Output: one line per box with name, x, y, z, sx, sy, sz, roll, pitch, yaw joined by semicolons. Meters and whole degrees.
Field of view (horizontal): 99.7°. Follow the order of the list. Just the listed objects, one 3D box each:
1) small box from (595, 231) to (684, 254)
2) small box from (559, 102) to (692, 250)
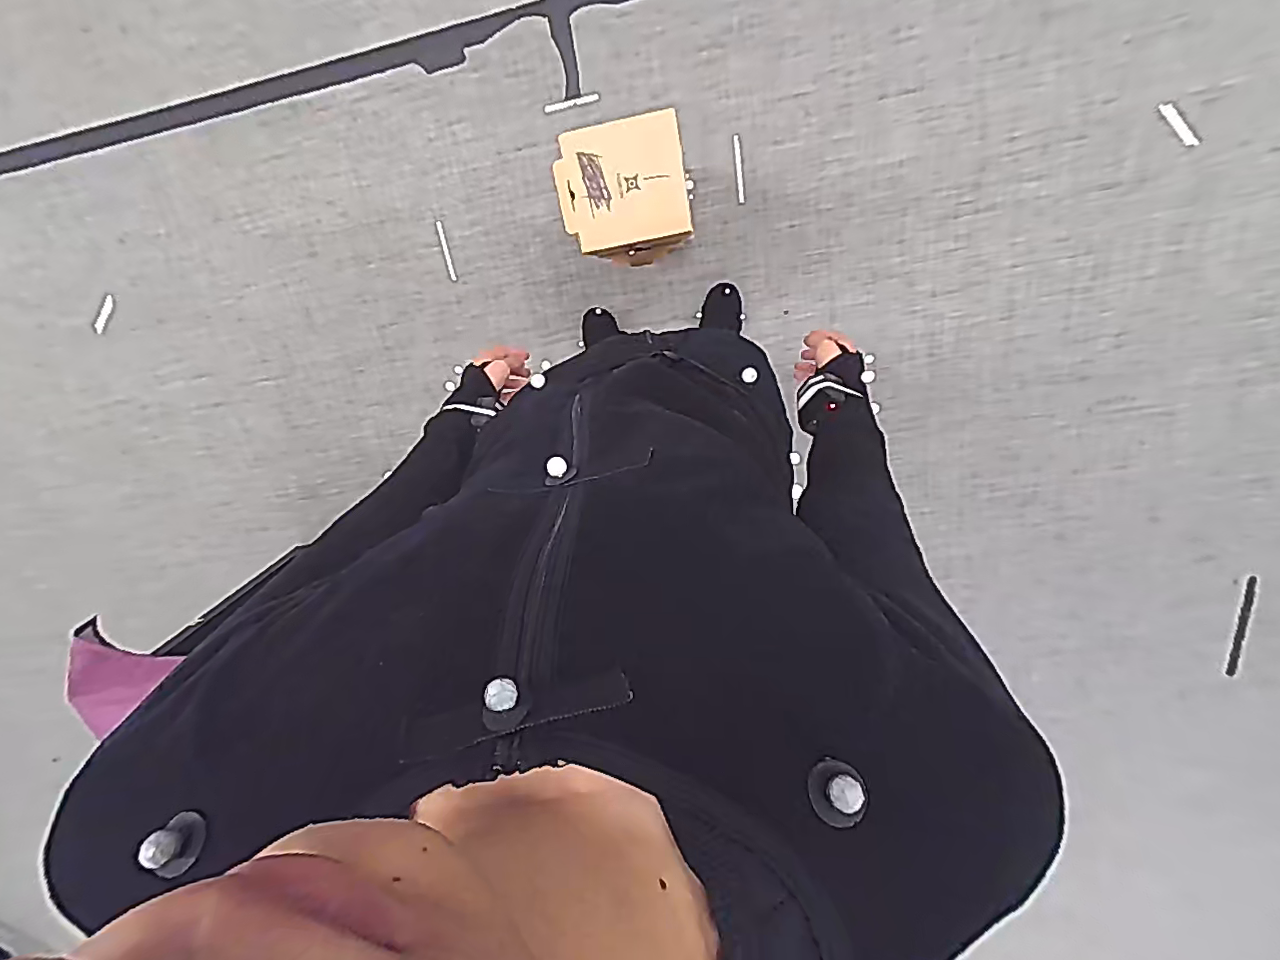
small box;-0.009;-0.534;1.024;0.168;0.176;0.179;-7;112;7
small box;-0.015;-0.474;0.870;0.179;0.176;0.168;-9;111;6
